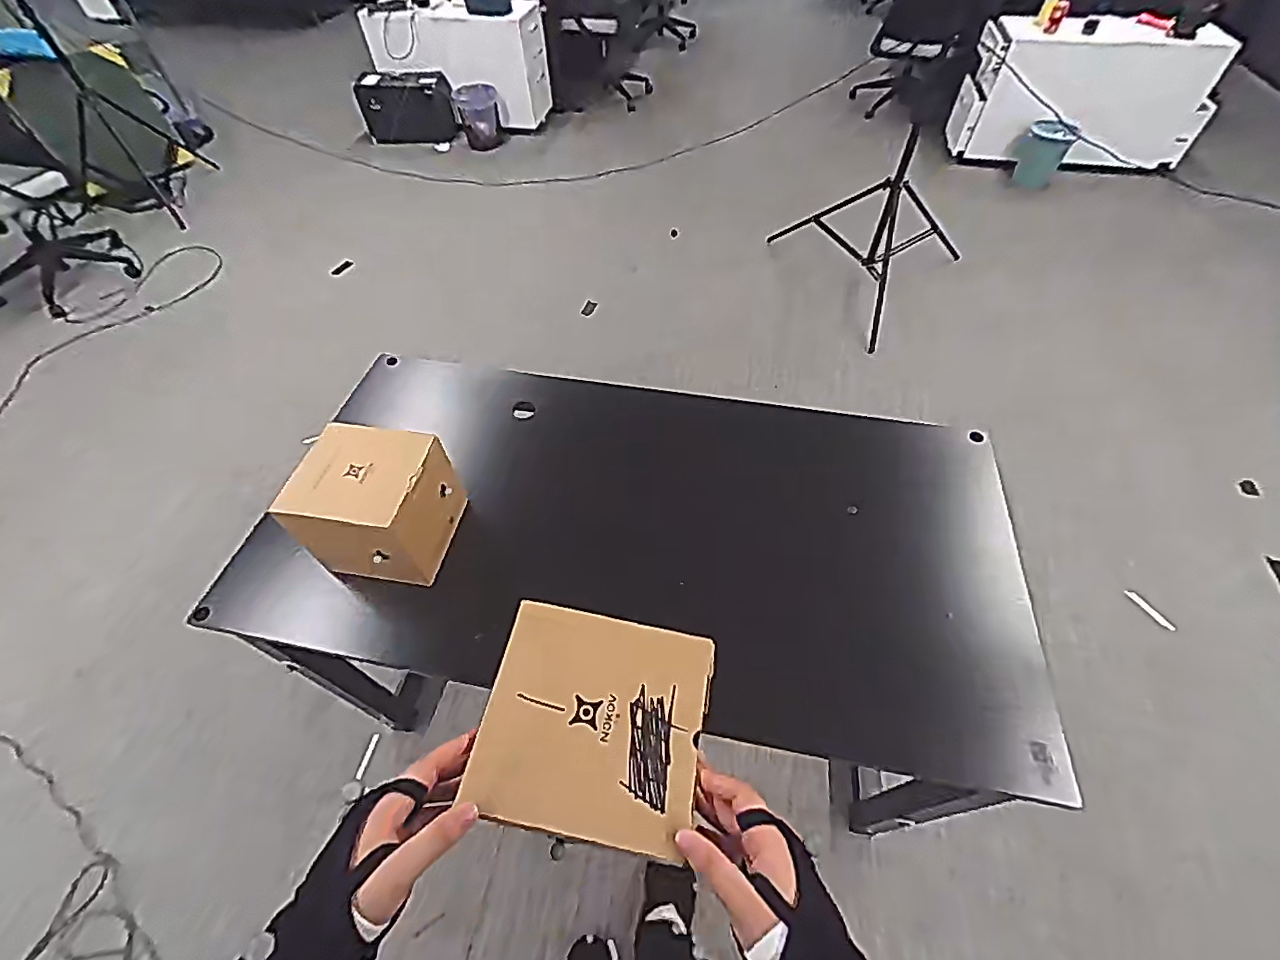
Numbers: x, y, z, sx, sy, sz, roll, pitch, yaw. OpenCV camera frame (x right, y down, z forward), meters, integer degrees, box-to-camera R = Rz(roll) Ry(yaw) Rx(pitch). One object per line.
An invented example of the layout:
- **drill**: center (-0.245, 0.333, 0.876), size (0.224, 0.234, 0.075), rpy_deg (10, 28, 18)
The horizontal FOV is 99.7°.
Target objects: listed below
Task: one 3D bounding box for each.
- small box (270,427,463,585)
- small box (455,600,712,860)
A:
- **small box**: center (-0.390, 0.043, 0.815), size (0.179, 0.176, 0.168), rpy_deg (6, 52, 7)
- **small box**: center (-0.042, 0.235, 0.503), size (0.179, 0.176, 0.168), rpy_deg (11, 54, 3)
